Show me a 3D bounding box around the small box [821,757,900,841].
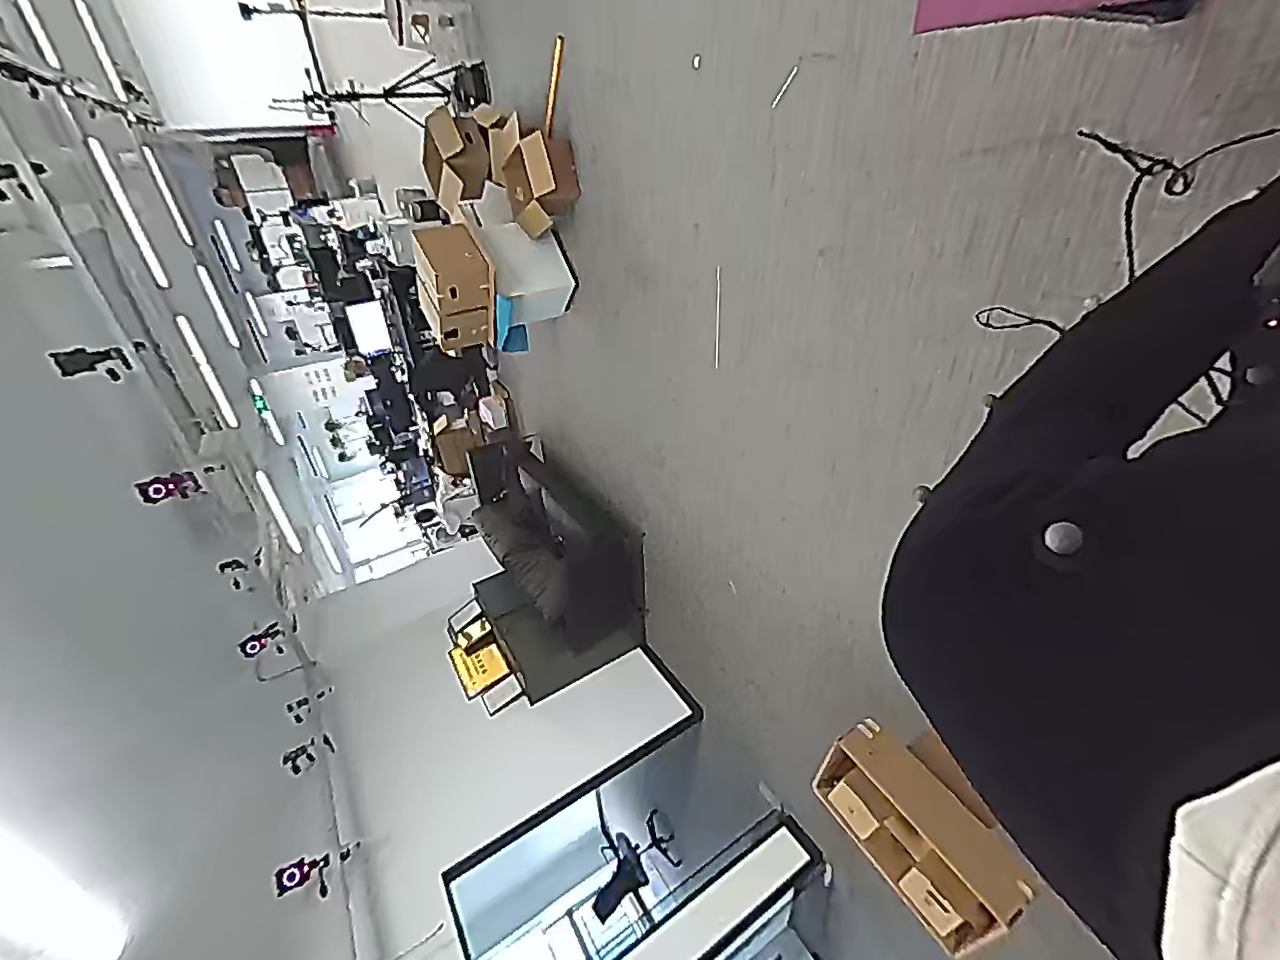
[{"bbox_3d":[0.779,1.123,1.908,0.168,0.176,0.179,47,146,36],"label":"small box"}]
